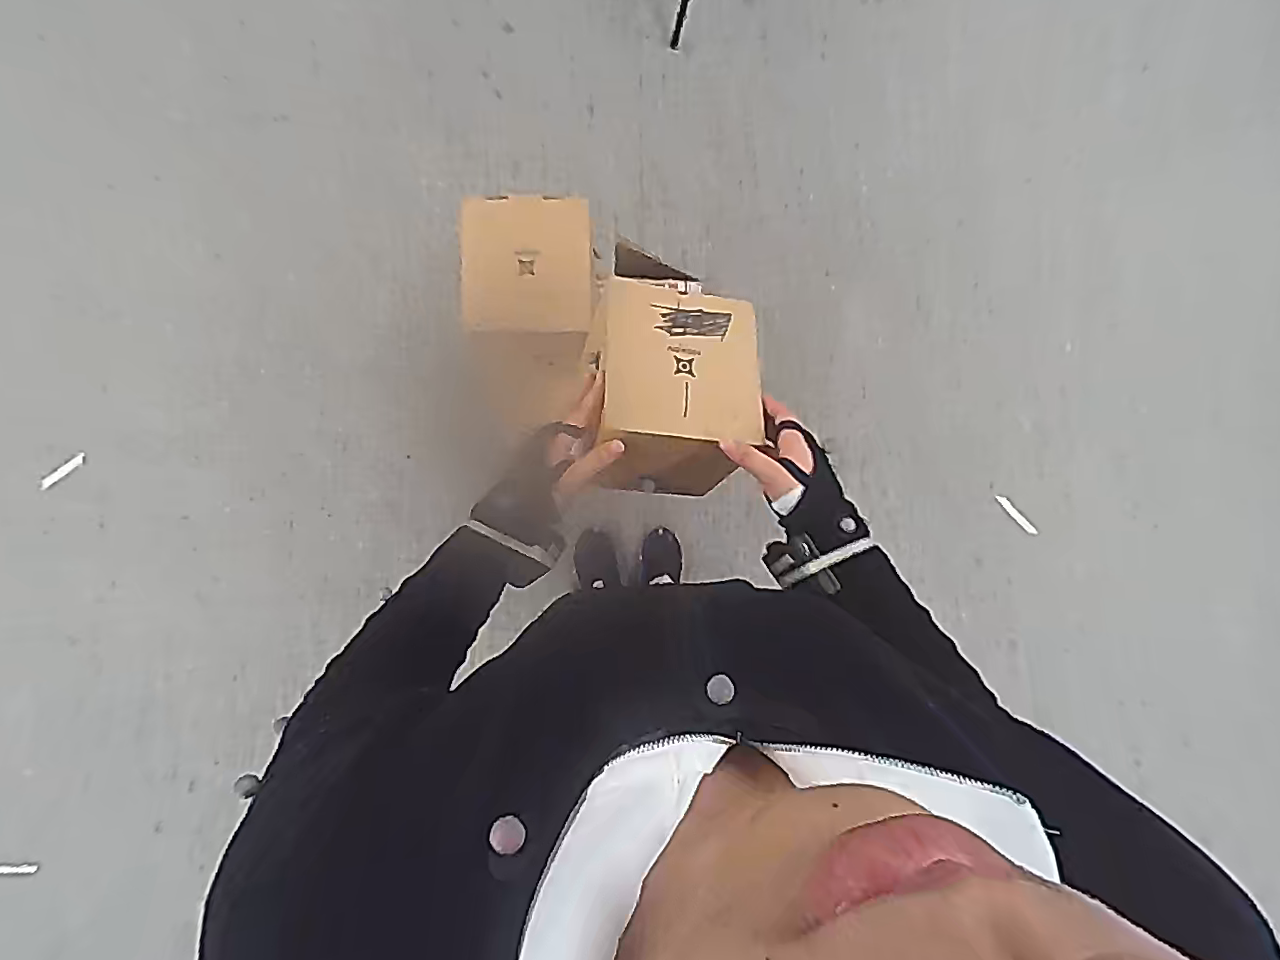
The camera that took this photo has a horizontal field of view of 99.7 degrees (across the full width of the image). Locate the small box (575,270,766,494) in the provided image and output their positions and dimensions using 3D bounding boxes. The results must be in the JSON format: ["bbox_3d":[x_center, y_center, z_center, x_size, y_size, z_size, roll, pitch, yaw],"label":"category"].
[{"bbox_3d":[0.024,-0.097,0.607,0.168,0.176,0.179,6,71,-15],"label":"small box"}]

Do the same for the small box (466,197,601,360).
[{"bbox_3d":[-0.144,-0.277,0.773,0.168,0.176,0.179,-1,91,-1],"label":"small box"}]
